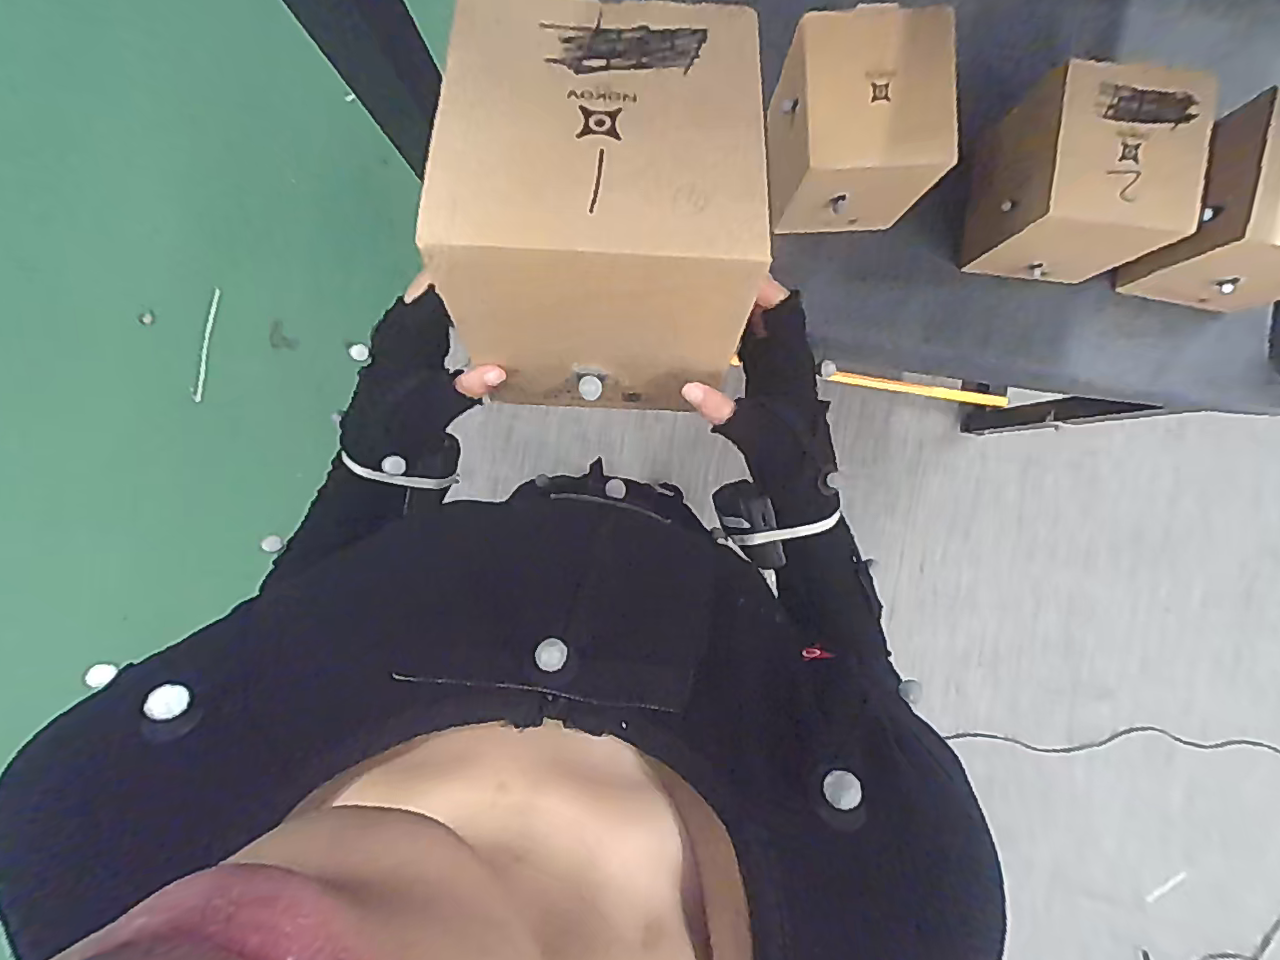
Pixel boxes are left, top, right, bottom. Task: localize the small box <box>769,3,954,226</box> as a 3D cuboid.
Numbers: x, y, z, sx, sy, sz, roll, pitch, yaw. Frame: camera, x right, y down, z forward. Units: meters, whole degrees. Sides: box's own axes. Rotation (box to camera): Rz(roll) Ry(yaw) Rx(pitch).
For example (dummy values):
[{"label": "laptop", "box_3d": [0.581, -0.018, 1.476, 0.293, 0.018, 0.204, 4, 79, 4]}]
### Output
[{"label": "small box", "box_3d": [0.261, -0.433, 0.672, 0.168, 0.176, 0.179, -2, 91, 0]}]
